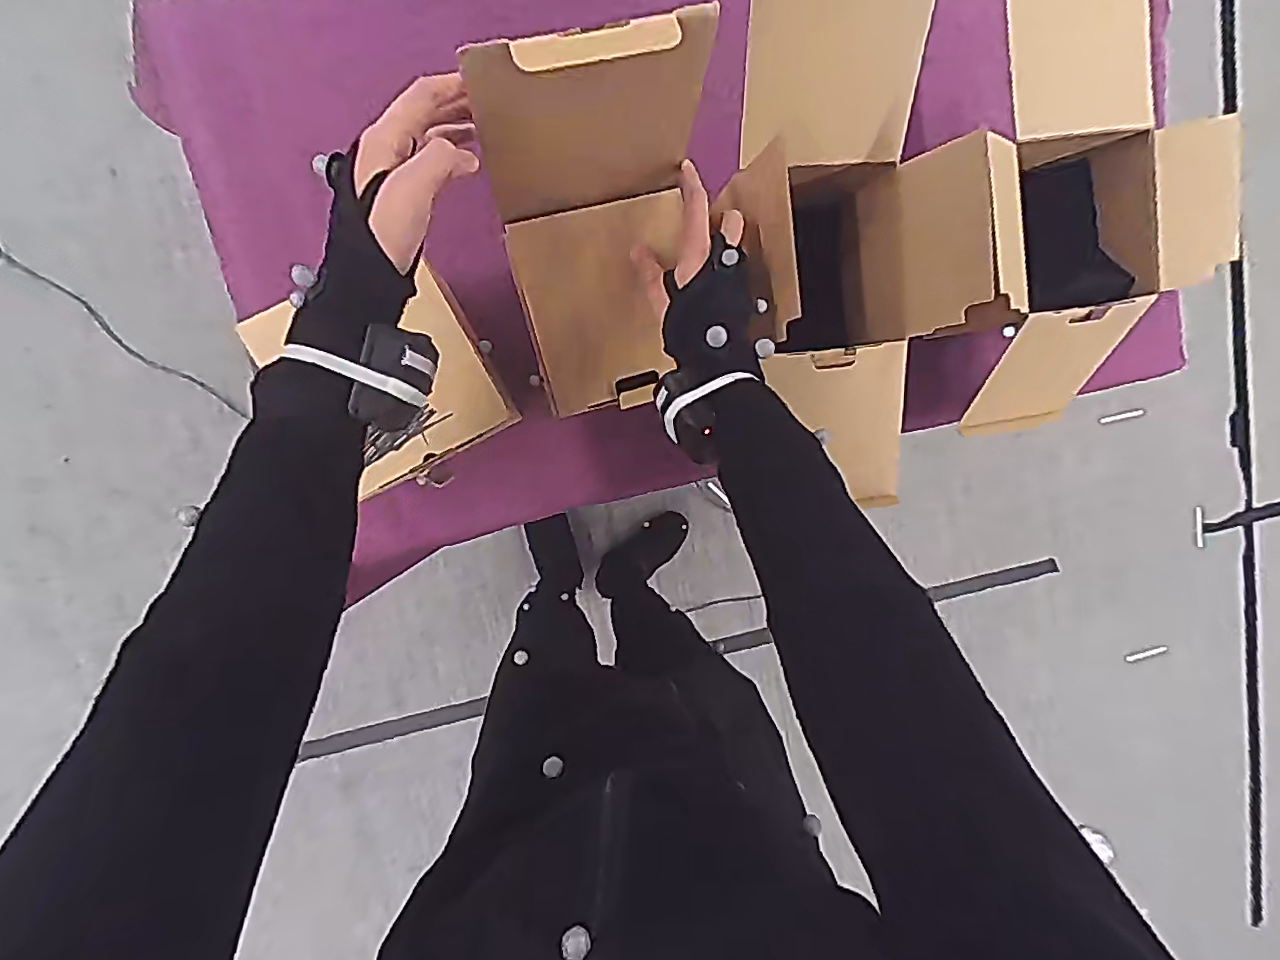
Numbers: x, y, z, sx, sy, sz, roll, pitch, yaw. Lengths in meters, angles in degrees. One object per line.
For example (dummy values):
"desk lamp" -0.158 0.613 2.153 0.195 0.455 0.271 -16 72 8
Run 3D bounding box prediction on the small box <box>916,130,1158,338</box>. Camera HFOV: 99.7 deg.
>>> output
"small box" 0.454 -0.276 0.641 0.168 0.176 0.179 -10 98 -7
